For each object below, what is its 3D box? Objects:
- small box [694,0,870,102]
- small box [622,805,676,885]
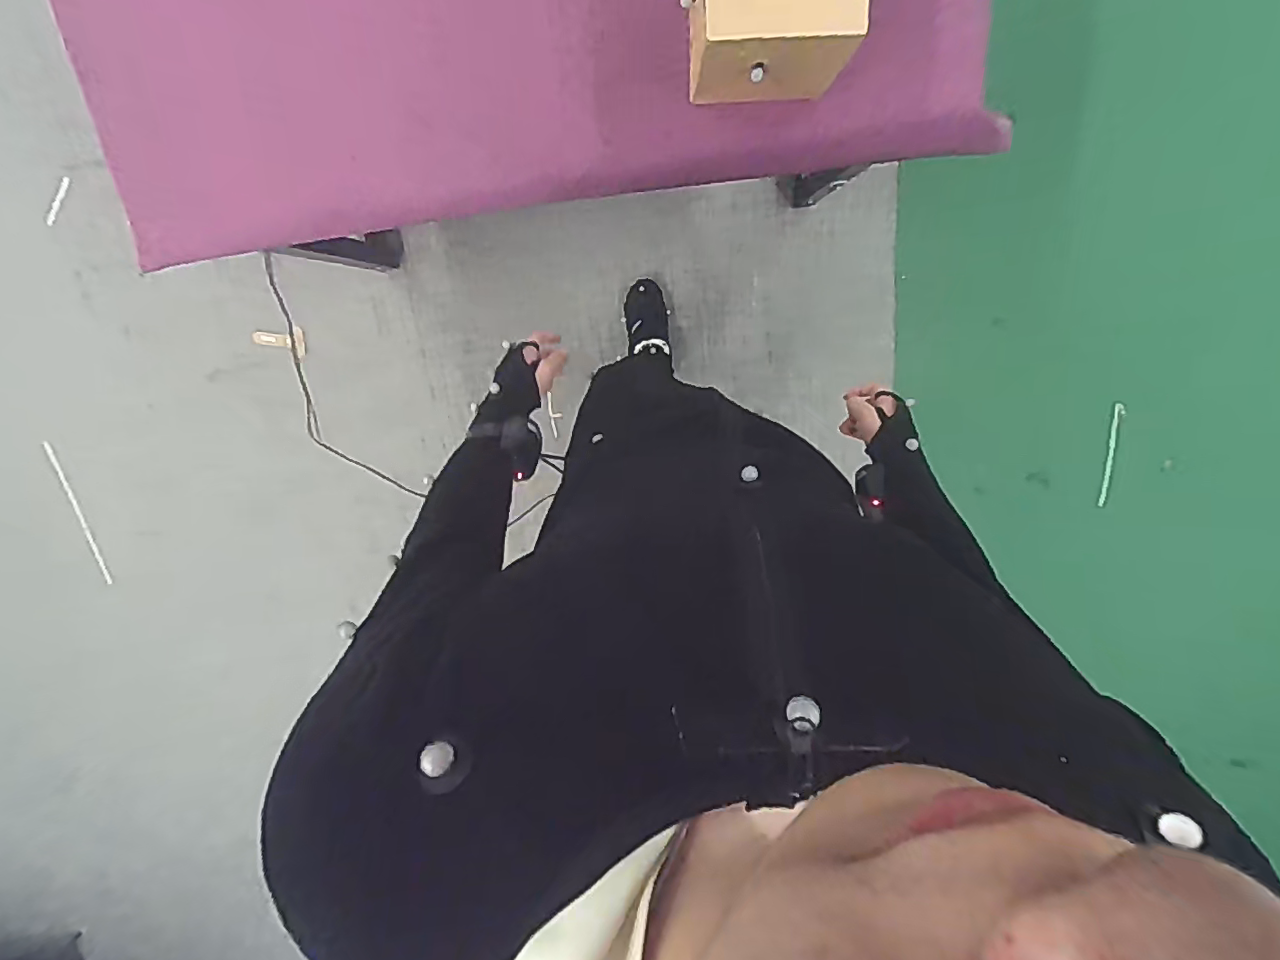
[{"bbox_3d":[0.153,-0.564,0.627,0.179,0.176,0.168,-2,106,2],"label":"small box"},{"bbox_3d":[0.034,1.298,1.930,0.179,0.176,0.168,-6,107,1],"label":"small box"}]
